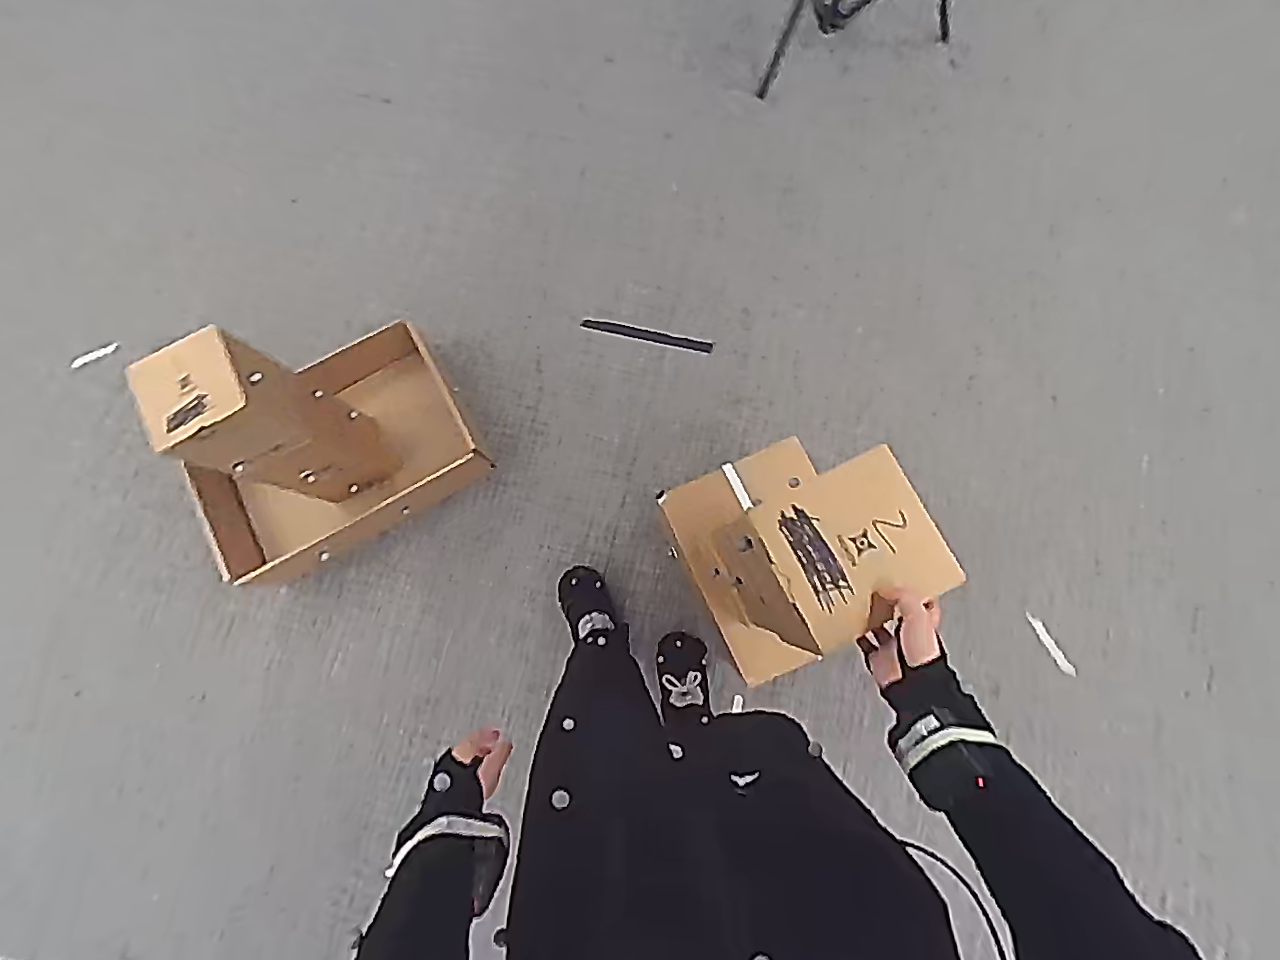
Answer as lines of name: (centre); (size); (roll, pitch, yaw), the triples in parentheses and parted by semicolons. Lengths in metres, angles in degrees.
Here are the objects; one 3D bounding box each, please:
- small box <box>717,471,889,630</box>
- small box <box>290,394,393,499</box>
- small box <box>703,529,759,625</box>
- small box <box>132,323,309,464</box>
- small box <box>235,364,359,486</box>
small box: (0.226, 0.108, 0.807); (0.179, 0.176, 0.168); (-24, 80, -3)
small box: (-0.732, -0.074, 1.299); (0.168, 0.176, 0.179); (-26, 79, -3)
small box: (0.221, 0.146, 0.967); (0.179, 0.176, 0.168); (-24, 80, -4)
small box: (-0.746, -0.143, 0.980); (0.168, 0.176, 0.179); (-28, 78, -3)
small box: (-0.737, -0.108, 1.141); (0.168, 0.176, 0.179); (-27, 80, -3)
